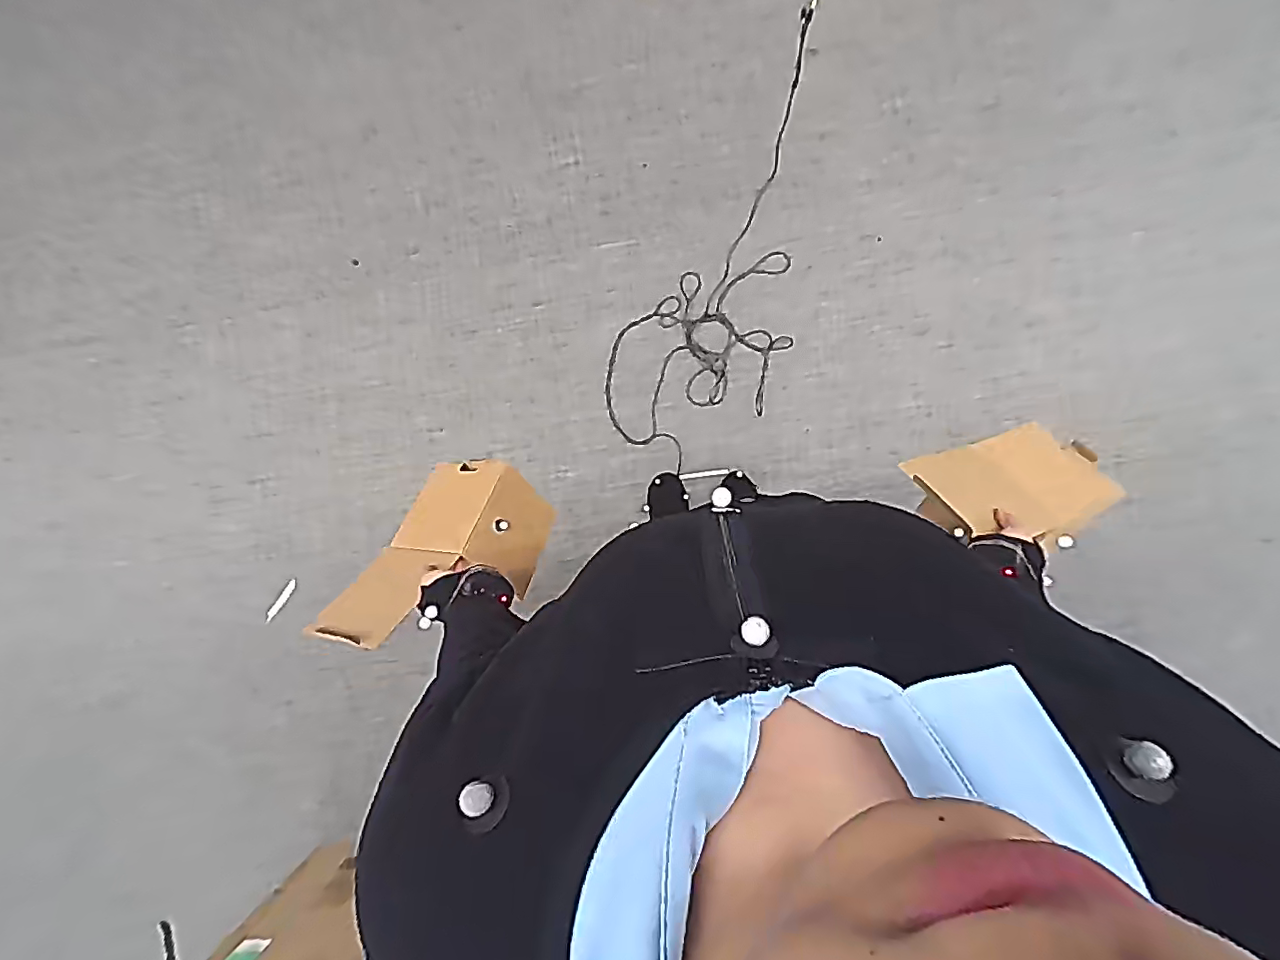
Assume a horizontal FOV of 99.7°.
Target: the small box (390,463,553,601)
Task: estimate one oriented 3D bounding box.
[{"bbox_3d":[-0.274,0.089,0.923,0.168,0.176,0.179,1,54,28],"label":"small box"}]
